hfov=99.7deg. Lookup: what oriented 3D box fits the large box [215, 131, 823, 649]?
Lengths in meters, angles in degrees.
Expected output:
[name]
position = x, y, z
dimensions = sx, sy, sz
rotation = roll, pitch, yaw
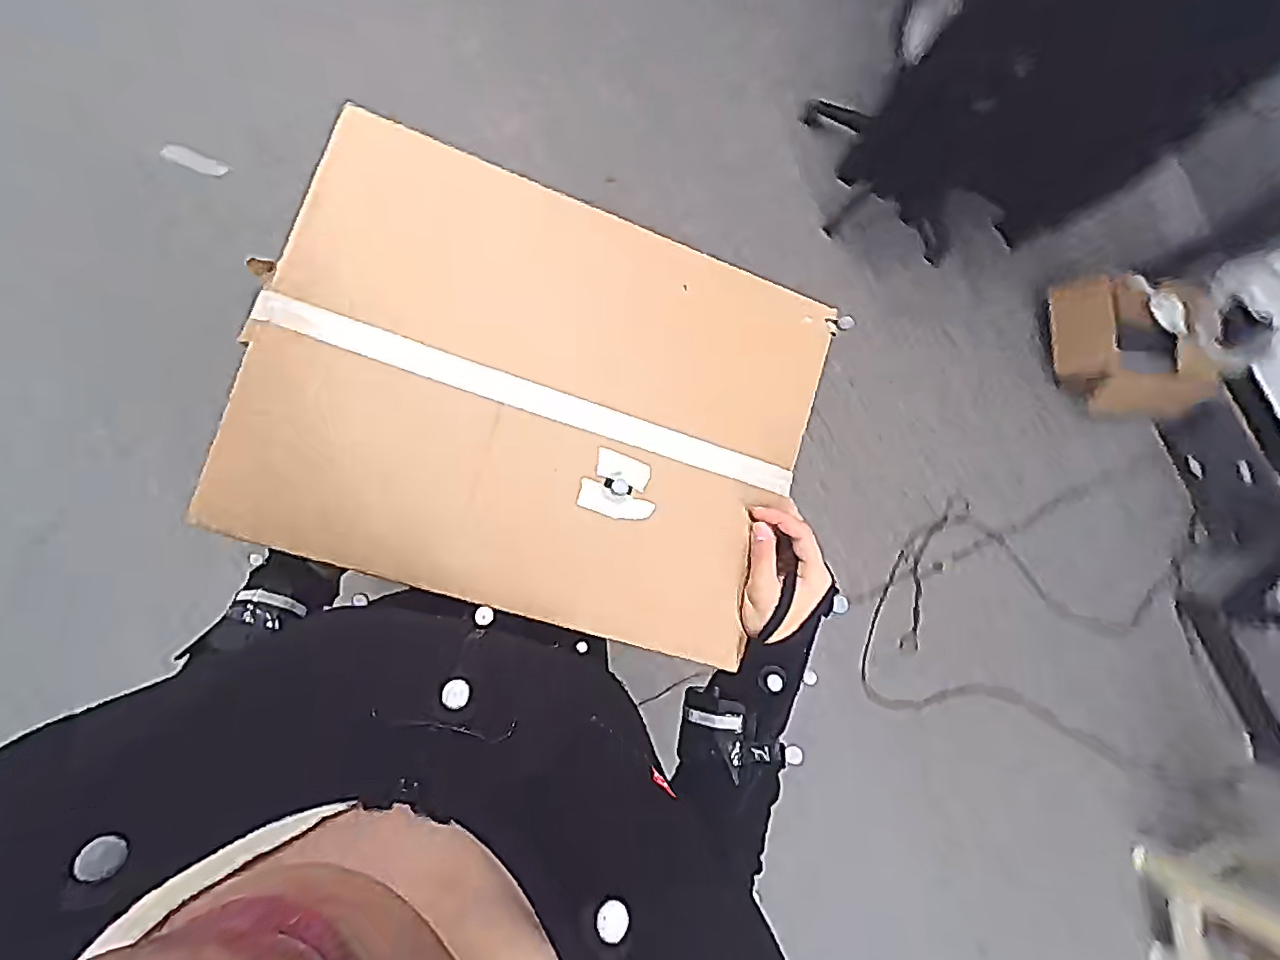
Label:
[large box]
position = -0.098, -0.053, 0.560
dimensions = 0.408, 0.320, 0.320
rotation = 16, 86, -12
